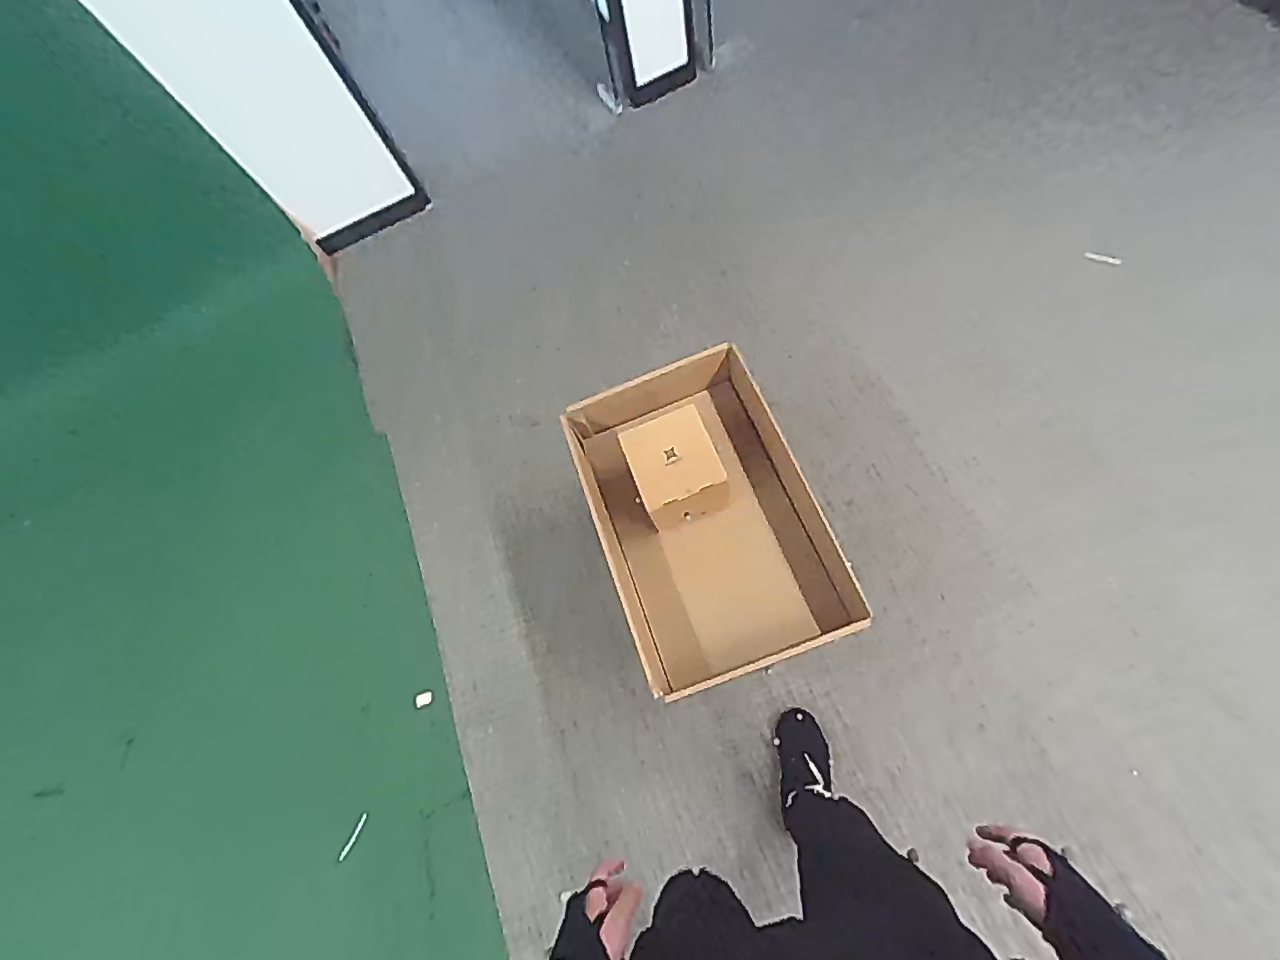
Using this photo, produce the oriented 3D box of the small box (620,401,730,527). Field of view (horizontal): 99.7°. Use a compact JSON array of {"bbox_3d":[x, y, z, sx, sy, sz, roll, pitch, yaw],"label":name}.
[{"bbox_3d":[0.074,-0.026,1.105,0.168,0.176,0.179,-23,69,2],"label":"small box"}]
